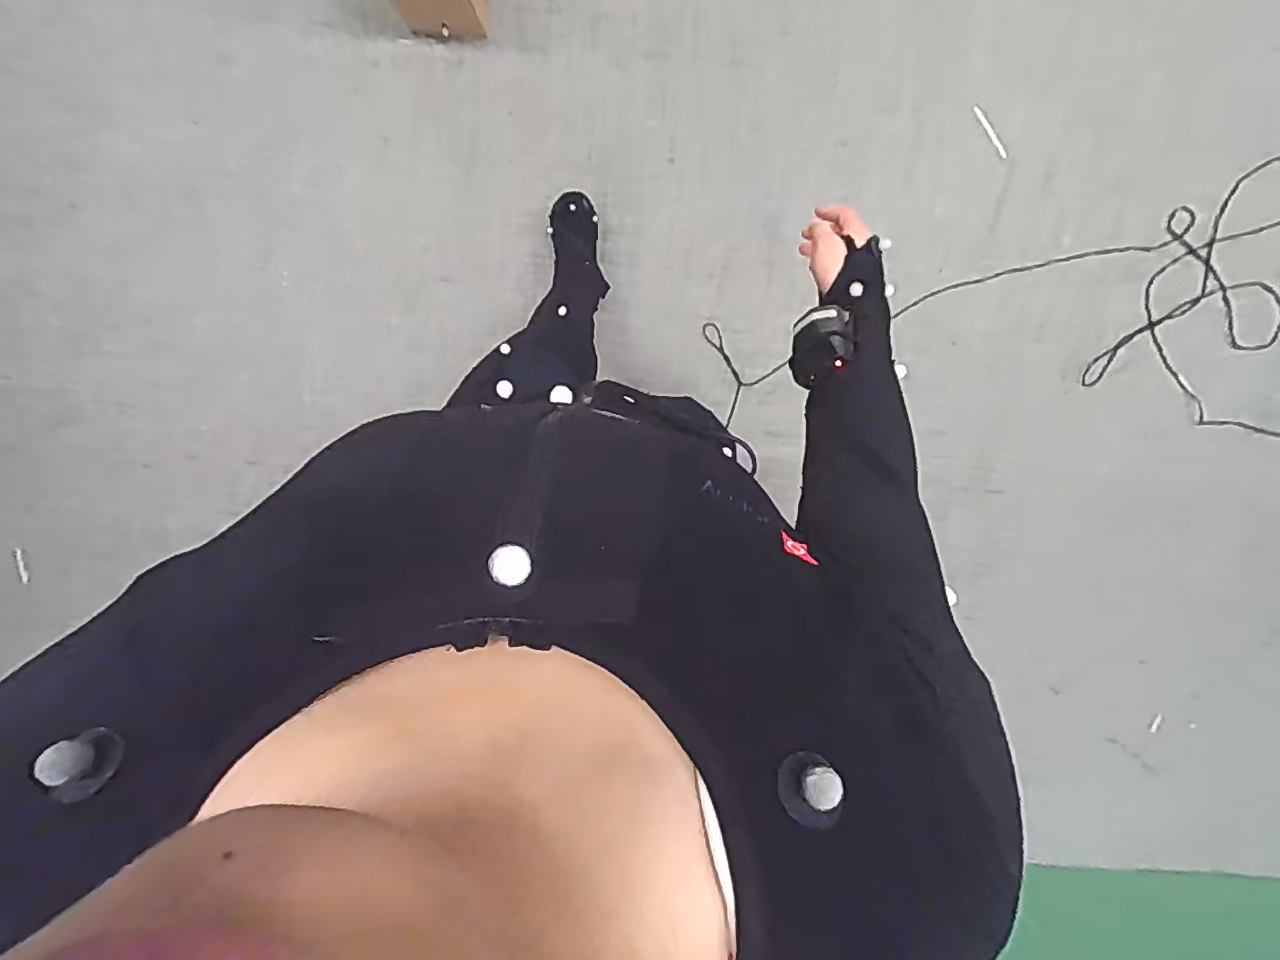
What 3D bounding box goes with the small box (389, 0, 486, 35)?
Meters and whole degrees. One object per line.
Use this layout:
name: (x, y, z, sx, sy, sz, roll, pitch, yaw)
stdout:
small box: (-0.420, -1.056, 1.113, 0.179, 0.176, 0.168, 3, 105, -2)
